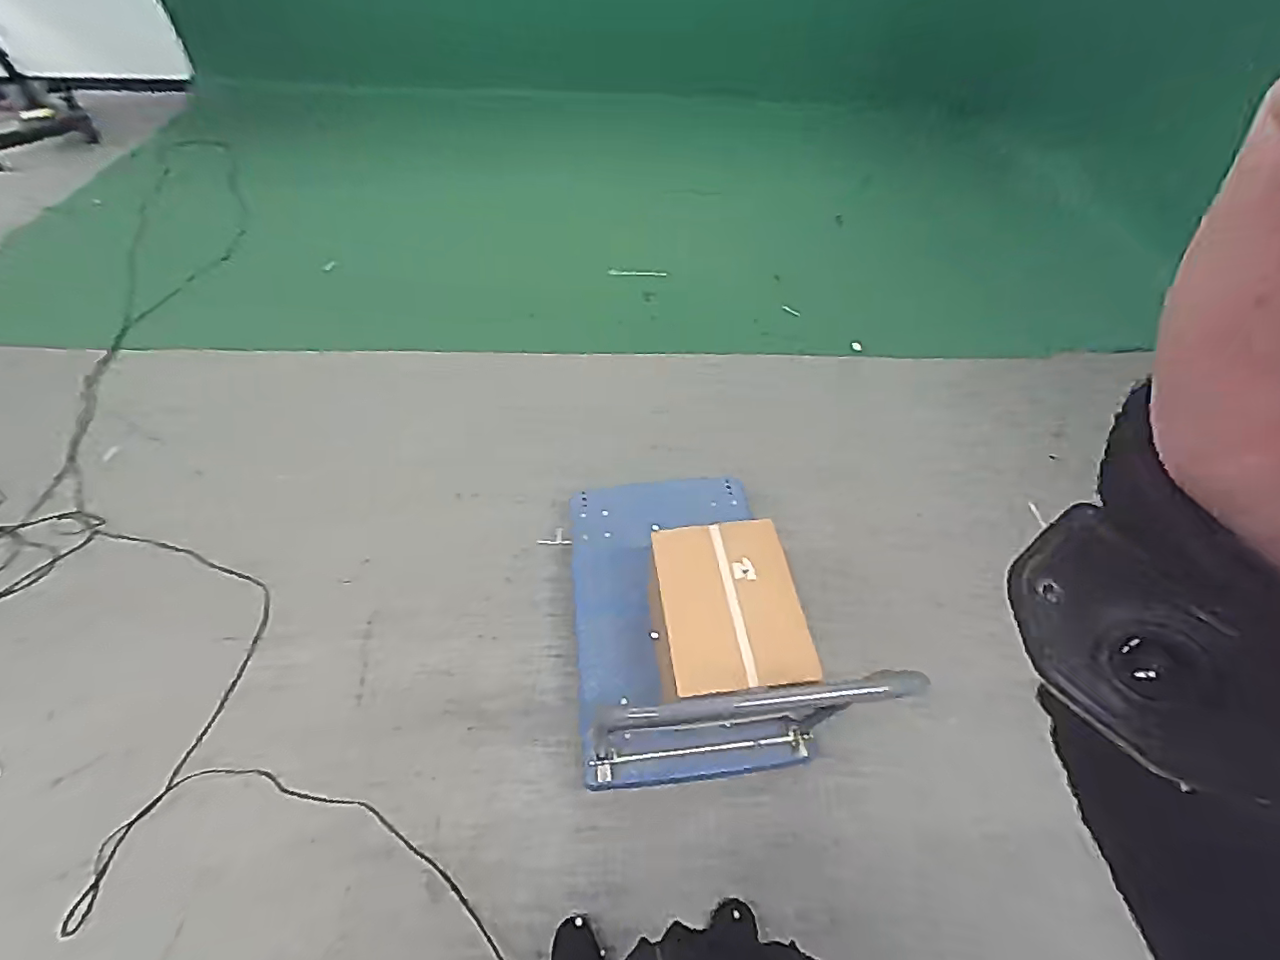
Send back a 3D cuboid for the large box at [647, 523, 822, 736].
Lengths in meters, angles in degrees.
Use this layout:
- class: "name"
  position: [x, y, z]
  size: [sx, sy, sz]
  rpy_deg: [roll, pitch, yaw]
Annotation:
- class: "large box"
  position: [0.201, 0.370, 1.347]
  size: [0.320, 0.320, 0.408]
  rpy_deg: [-5, 52, -7]
